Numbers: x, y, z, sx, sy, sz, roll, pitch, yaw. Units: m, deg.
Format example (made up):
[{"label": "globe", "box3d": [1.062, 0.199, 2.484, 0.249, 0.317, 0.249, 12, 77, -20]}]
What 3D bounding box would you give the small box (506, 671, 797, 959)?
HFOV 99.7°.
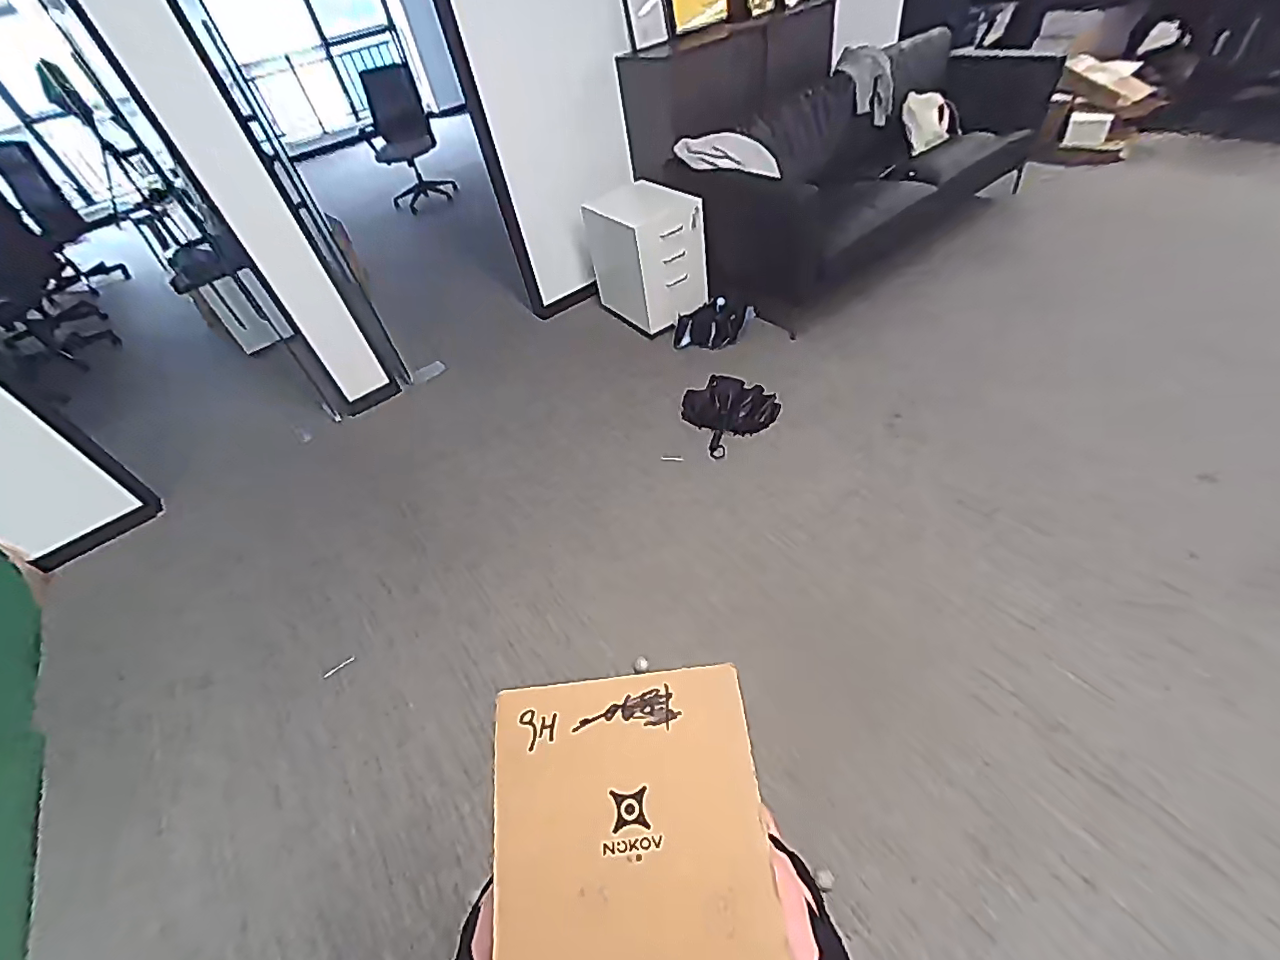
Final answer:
[{"label": "small box", "box3d": [0.002, 0.251, 0.400, 0.168, 0.176, 0.179, -6, 62, -3]}]
